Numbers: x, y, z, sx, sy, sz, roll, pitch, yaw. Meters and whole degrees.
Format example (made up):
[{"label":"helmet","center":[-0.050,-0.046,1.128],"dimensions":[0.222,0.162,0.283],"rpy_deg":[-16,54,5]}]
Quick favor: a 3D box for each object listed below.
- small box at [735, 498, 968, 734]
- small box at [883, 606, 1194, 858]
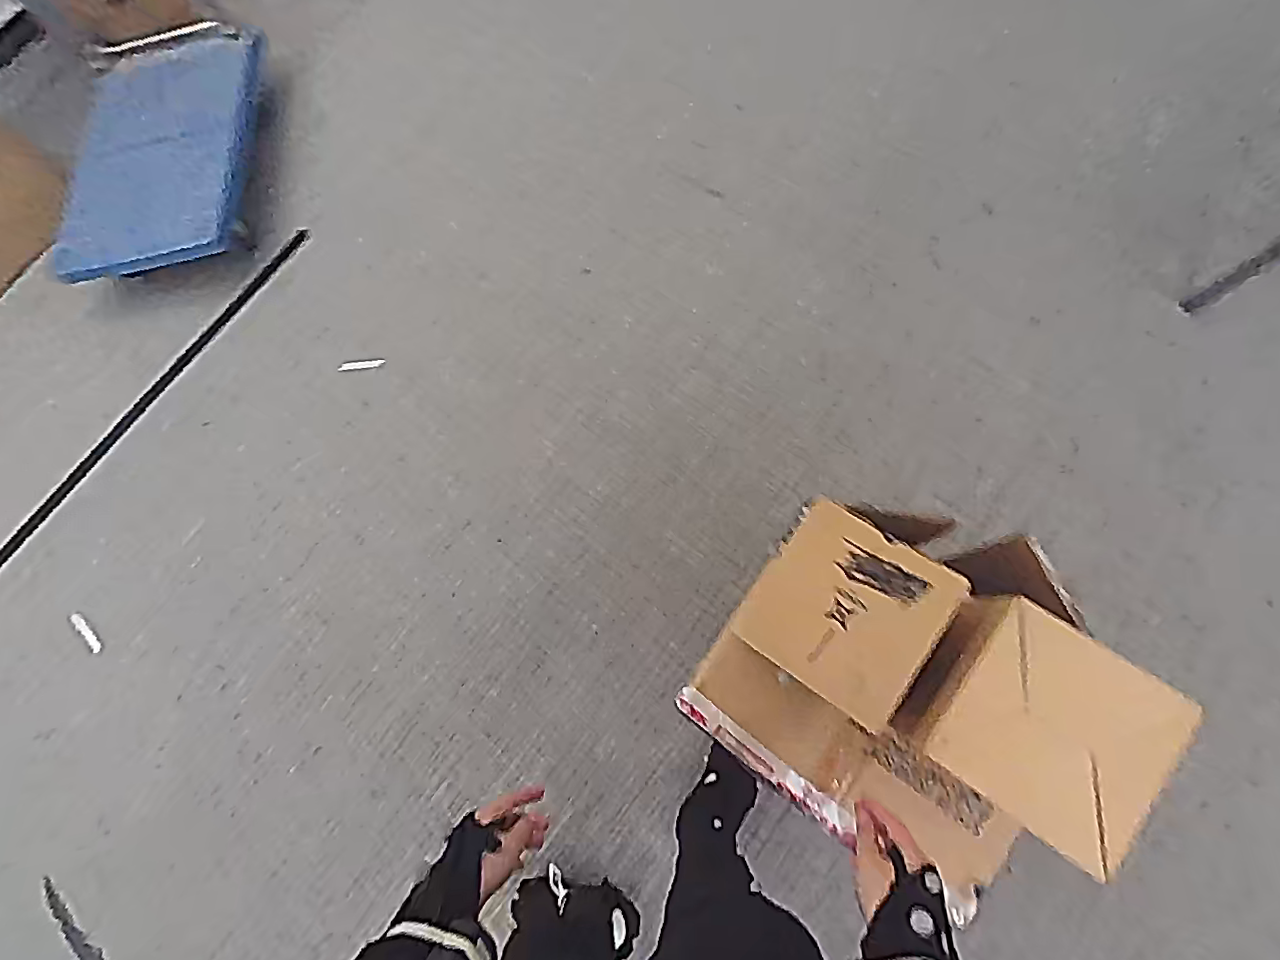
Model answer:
[{"label":"small box","center":[0.225,0.150,0.617],"dimensions":[0.168,0.176,0.179],"rpy_deg":[33,84,20]},{"label":"small box","center":[0.386,0.244,0.557],"dimensions":[0.168,0.176,0.179],"rpy_deg":[34,84,15]}]
